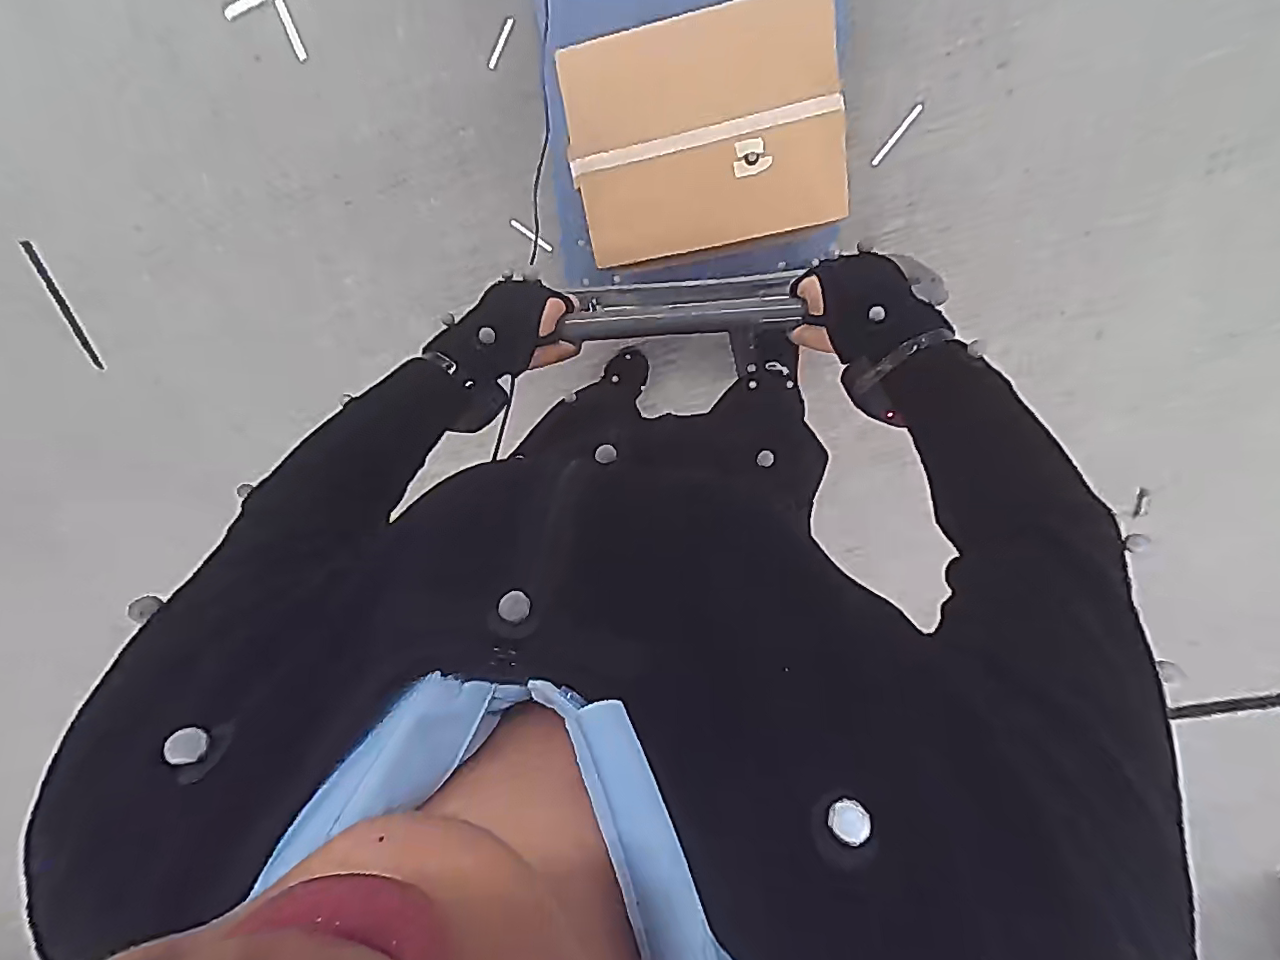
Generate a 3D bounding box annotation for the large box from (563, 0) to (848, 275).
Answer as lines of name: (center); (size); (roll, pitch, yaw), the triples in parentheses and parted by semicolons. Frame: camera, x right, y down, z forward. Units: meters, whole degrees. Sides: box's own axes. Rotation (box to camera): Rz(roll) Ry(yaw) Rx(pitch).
large box: (0.117, -0.576, 0.973); (0.408, 0.320, 0.320); (-9, 108, 9)
